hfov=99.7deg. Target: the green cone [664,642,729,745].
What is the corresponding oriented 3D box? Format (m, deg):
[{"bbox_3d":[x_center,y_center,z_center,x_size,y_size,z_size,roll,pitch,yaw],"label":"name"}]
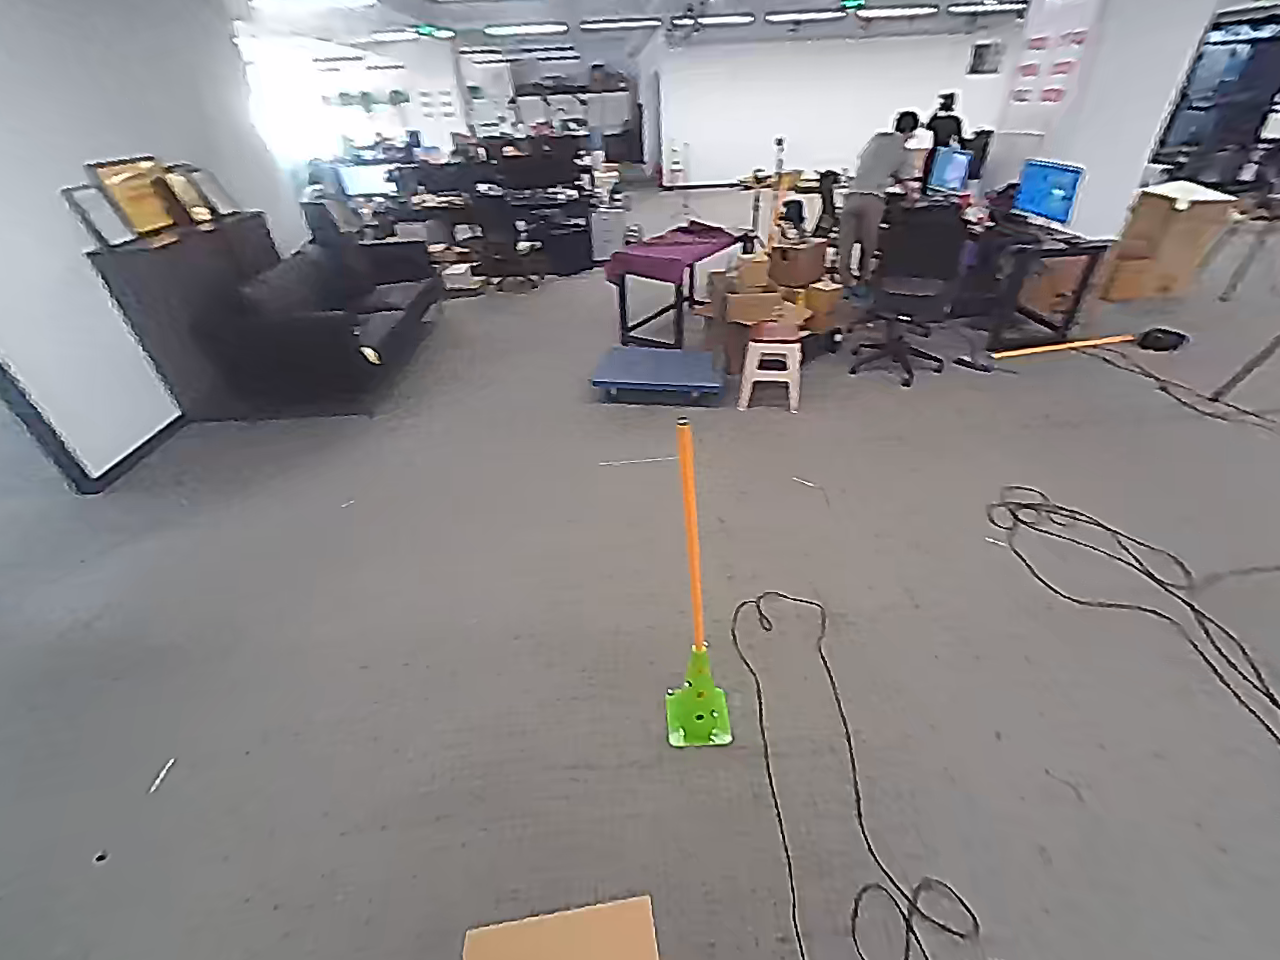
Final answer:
[{"bbox_3d":[0.180,0.641,1.692,0.202,0.368,0.200,-2,36,-1],"label":"green cone"}]
